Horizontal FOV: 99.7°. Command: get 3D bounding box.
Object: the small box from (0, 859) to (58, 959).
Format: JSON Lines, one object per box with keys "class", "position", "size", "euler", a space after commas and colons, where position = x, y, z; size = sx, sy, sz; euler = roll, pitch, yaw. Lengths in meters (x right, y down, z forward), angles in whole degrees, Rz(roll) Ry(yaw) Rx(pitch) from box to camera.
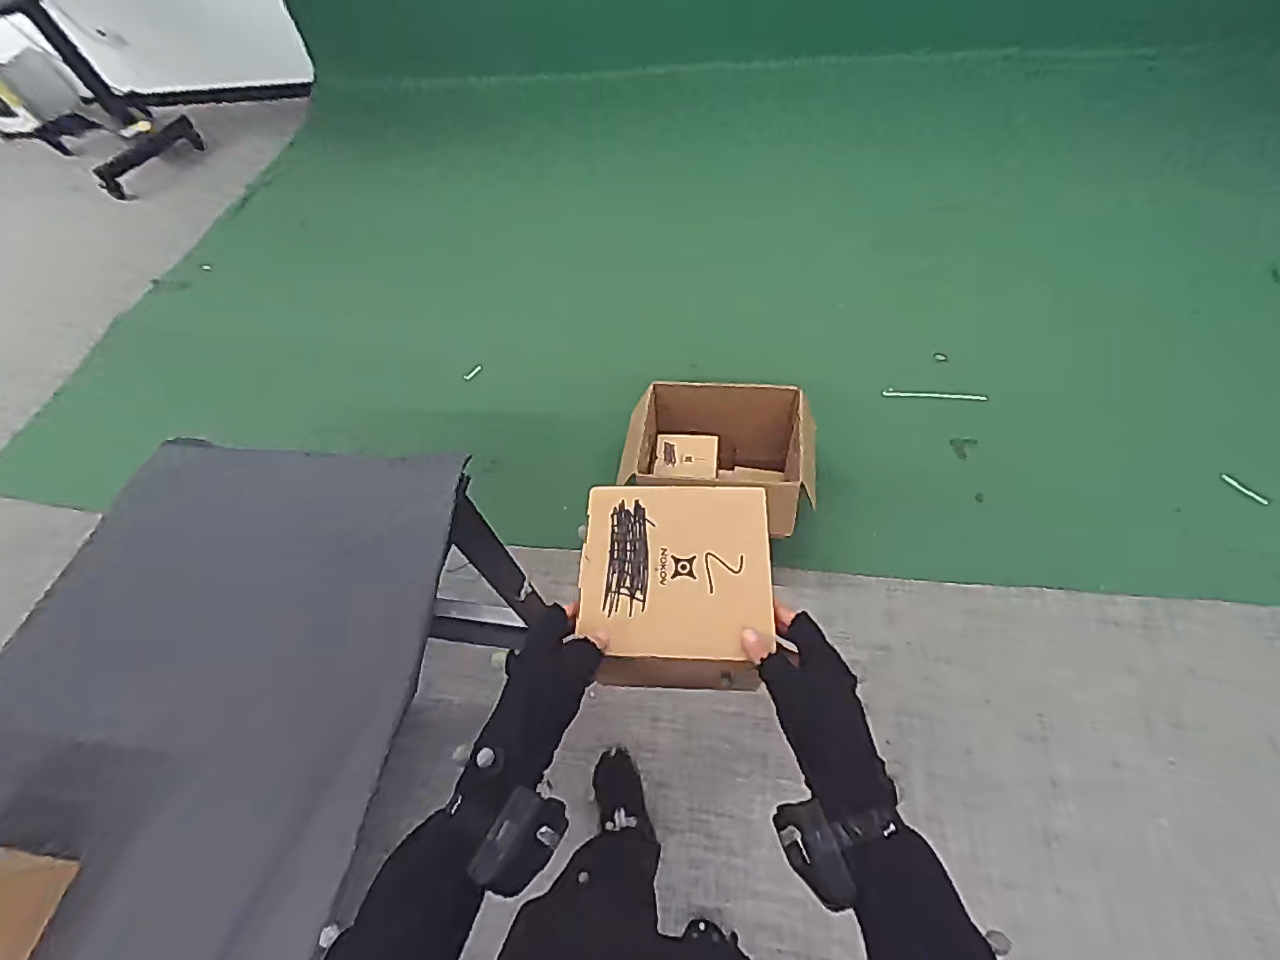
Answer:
{"class": "small box", "position": [-0.746, 0.471, 0.522], "size": [0.168, 0.176, 0.179], "euler": [2, 58, 9]}
